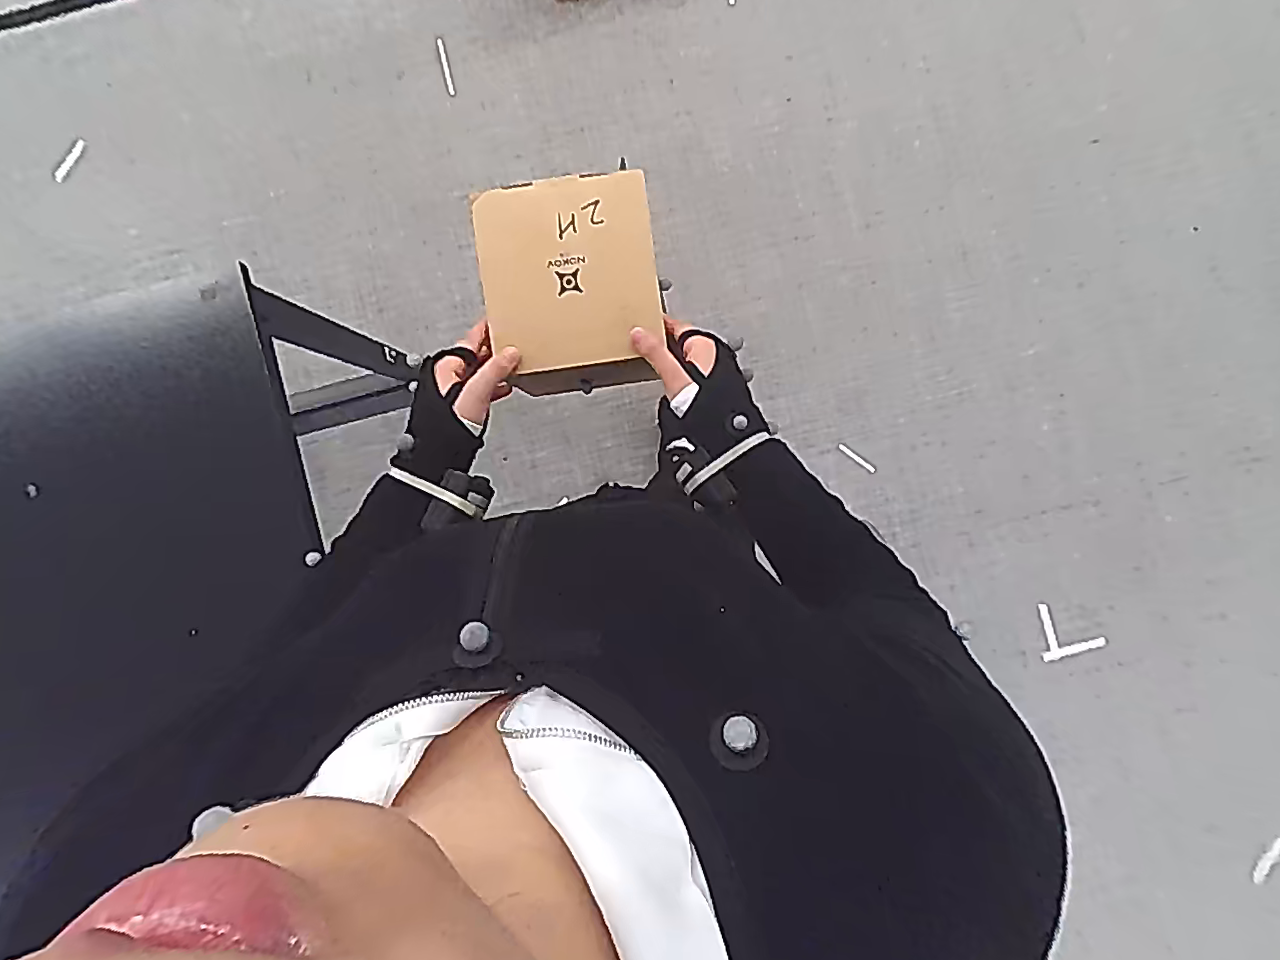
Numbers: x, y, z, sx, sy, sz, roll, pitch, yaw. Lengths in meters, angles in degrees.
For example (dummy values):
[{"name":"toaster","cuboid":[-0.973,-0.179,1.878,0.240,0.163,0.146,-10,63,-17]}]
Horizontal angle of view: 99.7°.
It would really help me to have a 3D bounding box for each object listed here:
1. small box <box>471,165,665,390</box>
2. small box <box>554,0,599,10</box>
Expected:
[{"name":"small box","cuboid":[-0.064,-0.198,0.584,0.168,0.176,0.179,-8,91,1]},{"name":"small box","cuboid":[-0.165,-1.387,1.406,0.179,0.176,0.168,-14,89,2]}]
